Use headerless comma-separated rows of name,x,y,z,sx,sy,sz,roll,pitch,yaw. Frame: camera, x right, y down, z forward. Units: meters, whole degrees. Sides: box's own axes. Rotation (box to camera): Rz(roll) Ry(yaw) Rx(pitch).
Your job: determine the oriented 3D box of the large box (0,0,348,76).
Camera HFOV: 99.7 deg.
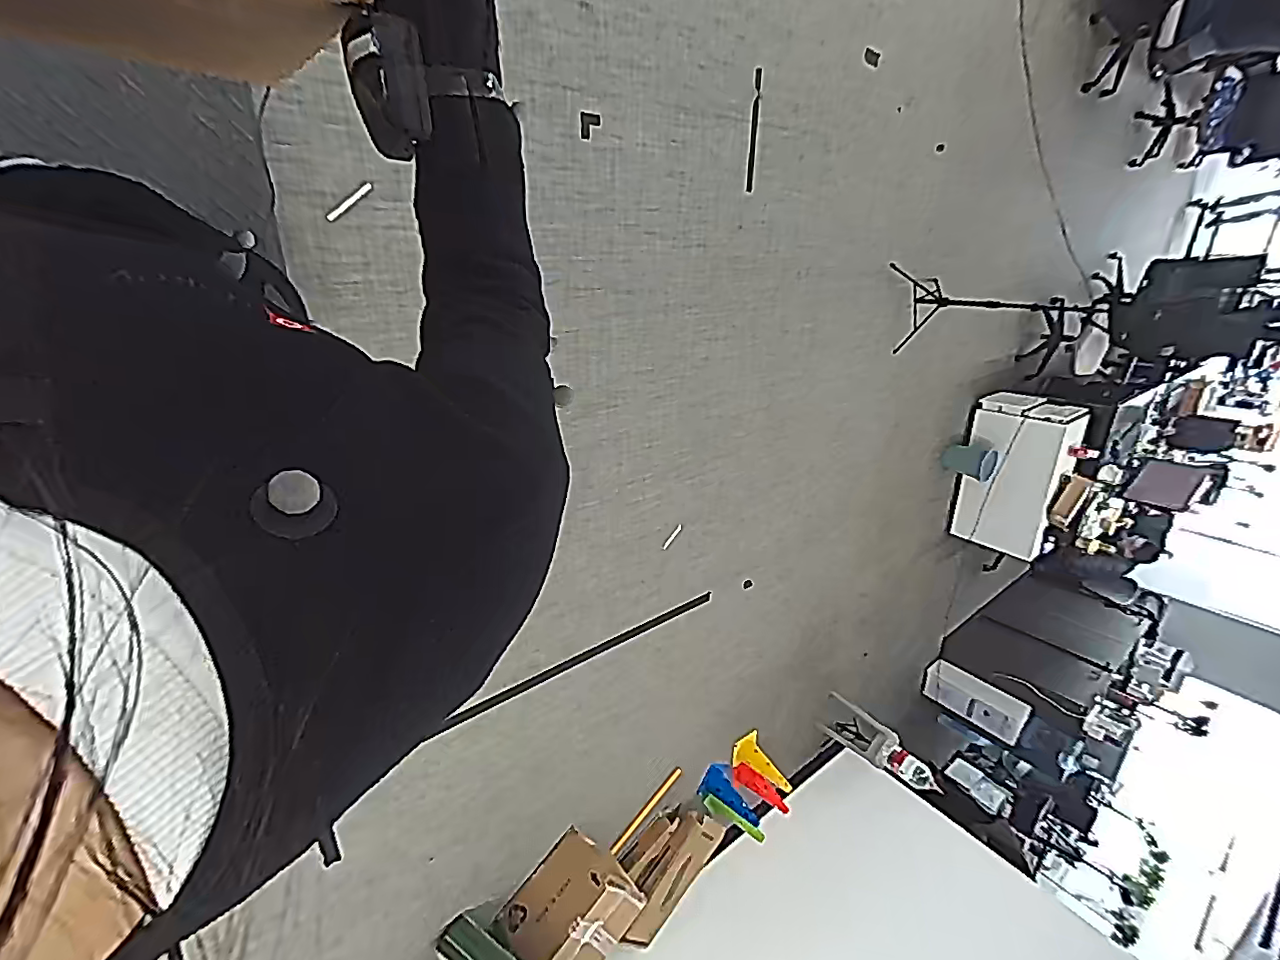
large box,-0.397,-0.416,0.229,0.408,0.320,0.320,-17,123,-37
